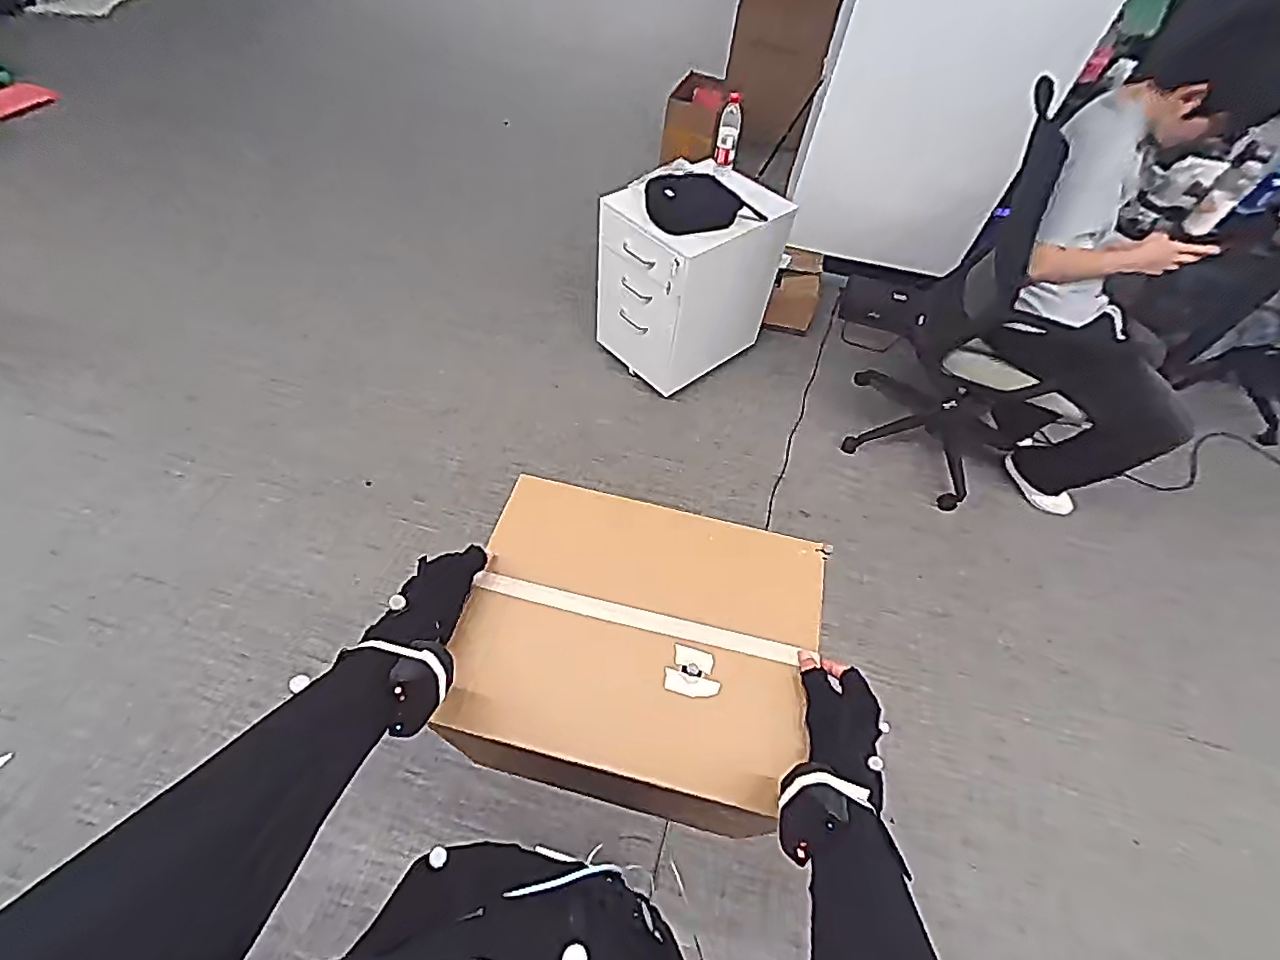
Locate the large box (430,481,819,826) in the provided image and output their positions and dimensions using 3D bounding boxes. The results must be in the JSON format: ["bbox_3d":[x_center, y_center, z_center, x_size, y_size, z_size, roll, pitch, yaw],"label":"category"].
[{"bbox_3d":[-0.006,0.248,0.751,0.408,0.320,0.320,14,56,5],"label":"large box"}]
